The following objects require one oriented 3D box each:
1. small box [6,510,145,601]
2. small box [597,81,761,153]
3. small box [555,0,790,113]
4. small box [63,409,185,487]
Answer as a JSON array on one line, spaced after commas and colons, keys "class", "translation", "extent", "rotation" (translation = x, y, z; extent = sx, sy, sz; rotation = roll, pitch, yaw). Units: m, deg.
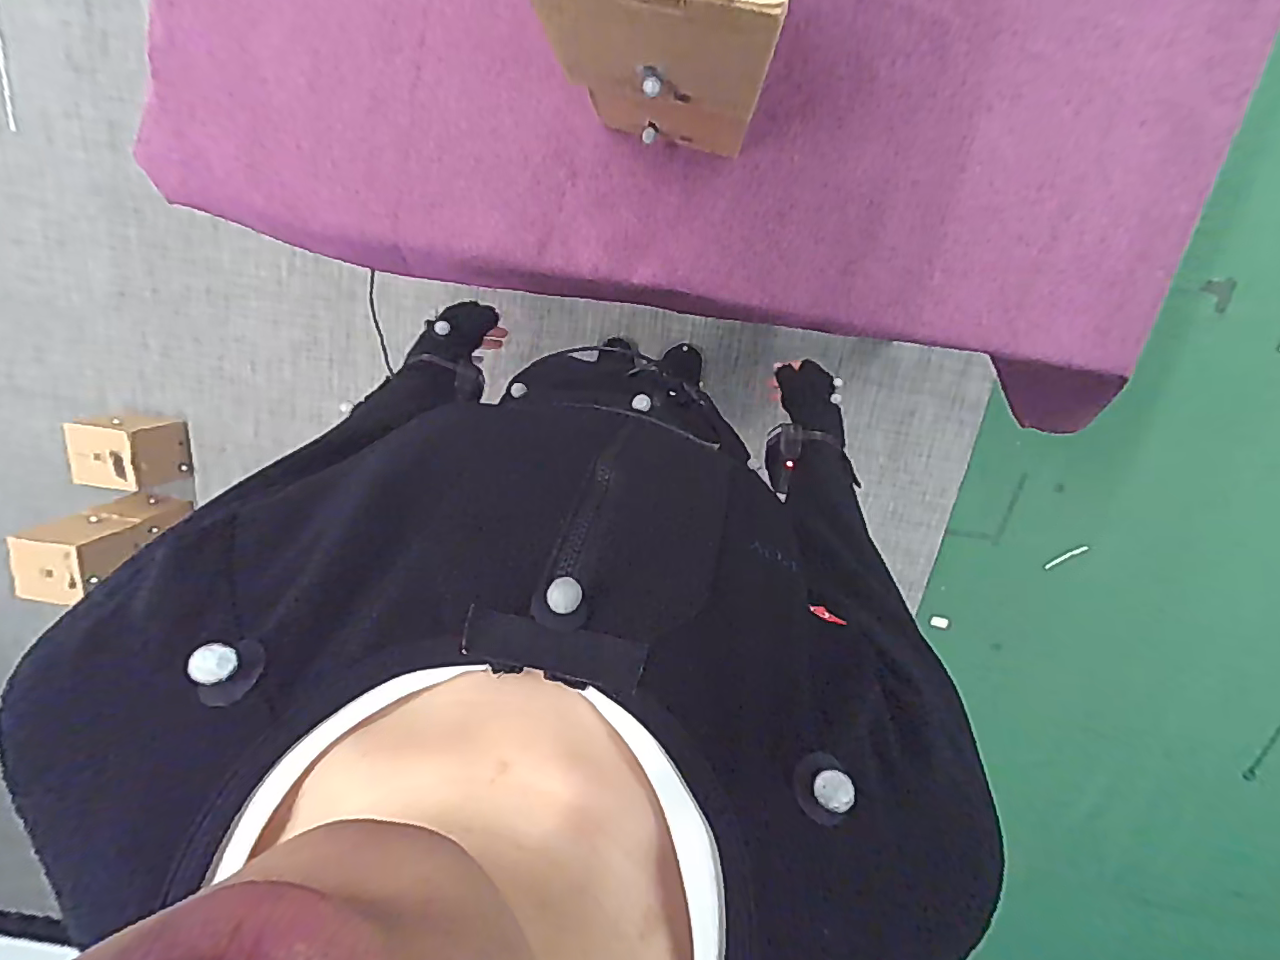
[{"class": "small box", "translation": [-1.428, 0.185, 1.378], "extent": [0.179, 0.176, 0.168], "rotation": [9, 106, 2]}, {"class": "small box", "translation": [0.049, -0.454, 0.525], "extent": [0.168, 0.176, 0.179], "rotation": [14, 107, 0]}, {"class": "small box", "translation": [0.032, -0.396, 0.372], "extent": [0.168, 0.176, 0.179], "rotation": [13, 106, 1]}, {"class": "small box", "translation": [-1.382, -0.093, 1.464], "extent": [0.179, 0.176, 0.168], "rotation": [8, 106, 2]}]
